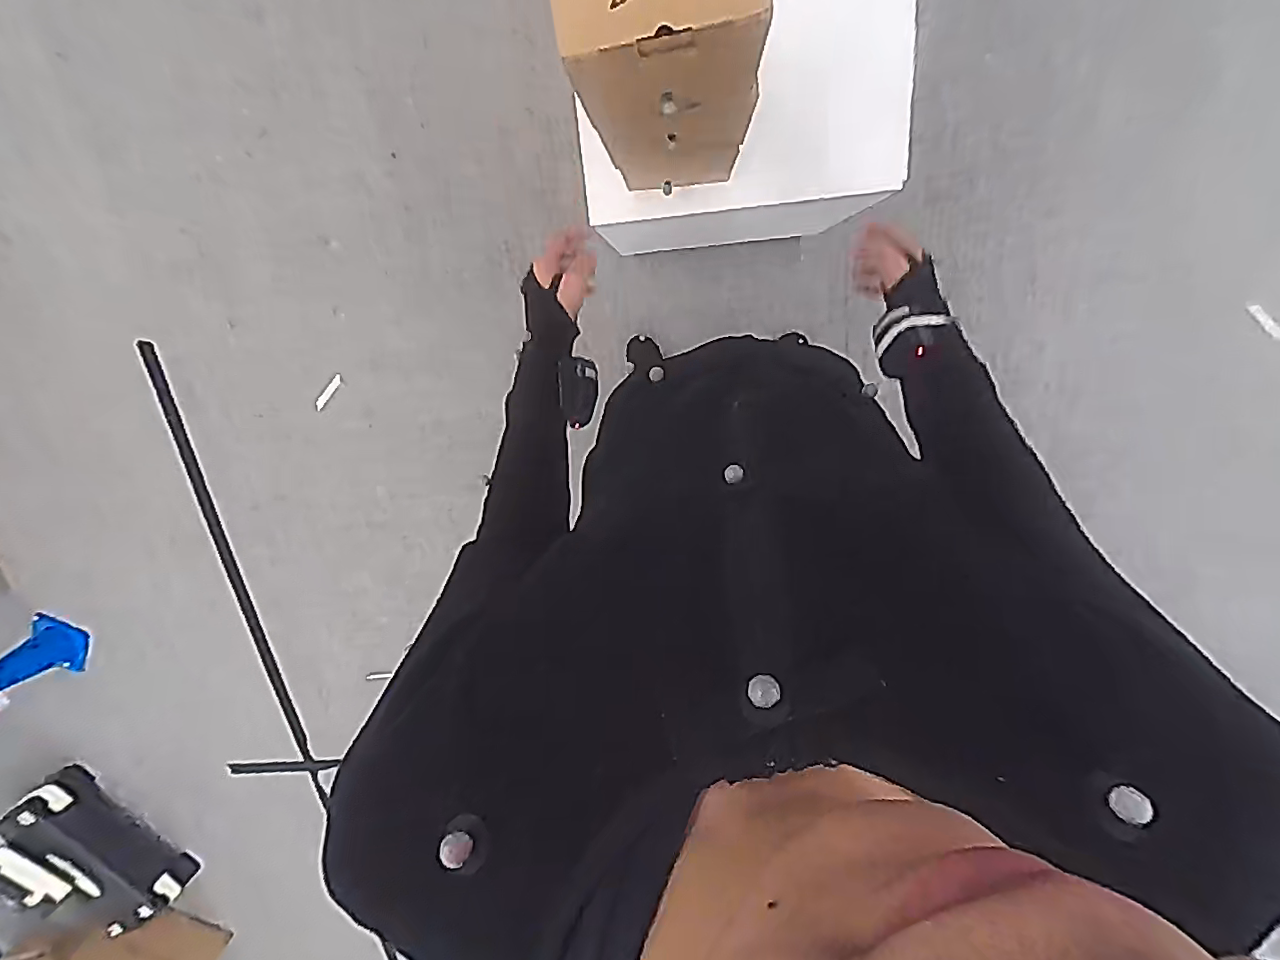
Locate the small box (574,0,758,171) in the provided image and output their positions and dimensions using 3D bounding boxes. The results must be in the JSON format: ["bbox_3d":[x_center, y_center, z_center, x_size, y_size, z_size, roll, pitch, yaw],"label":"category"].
[{"bbox_3d":[0.030,-0.479,0.621,0.179,0.176,0.168,-7,106,7],"label":"small box"}]

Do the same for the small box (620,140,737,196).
[{"bbox_3d":[0.047,-0.528,0.777,0.168,0.176,0.179,-3,107,5],"label":"small box"}]
